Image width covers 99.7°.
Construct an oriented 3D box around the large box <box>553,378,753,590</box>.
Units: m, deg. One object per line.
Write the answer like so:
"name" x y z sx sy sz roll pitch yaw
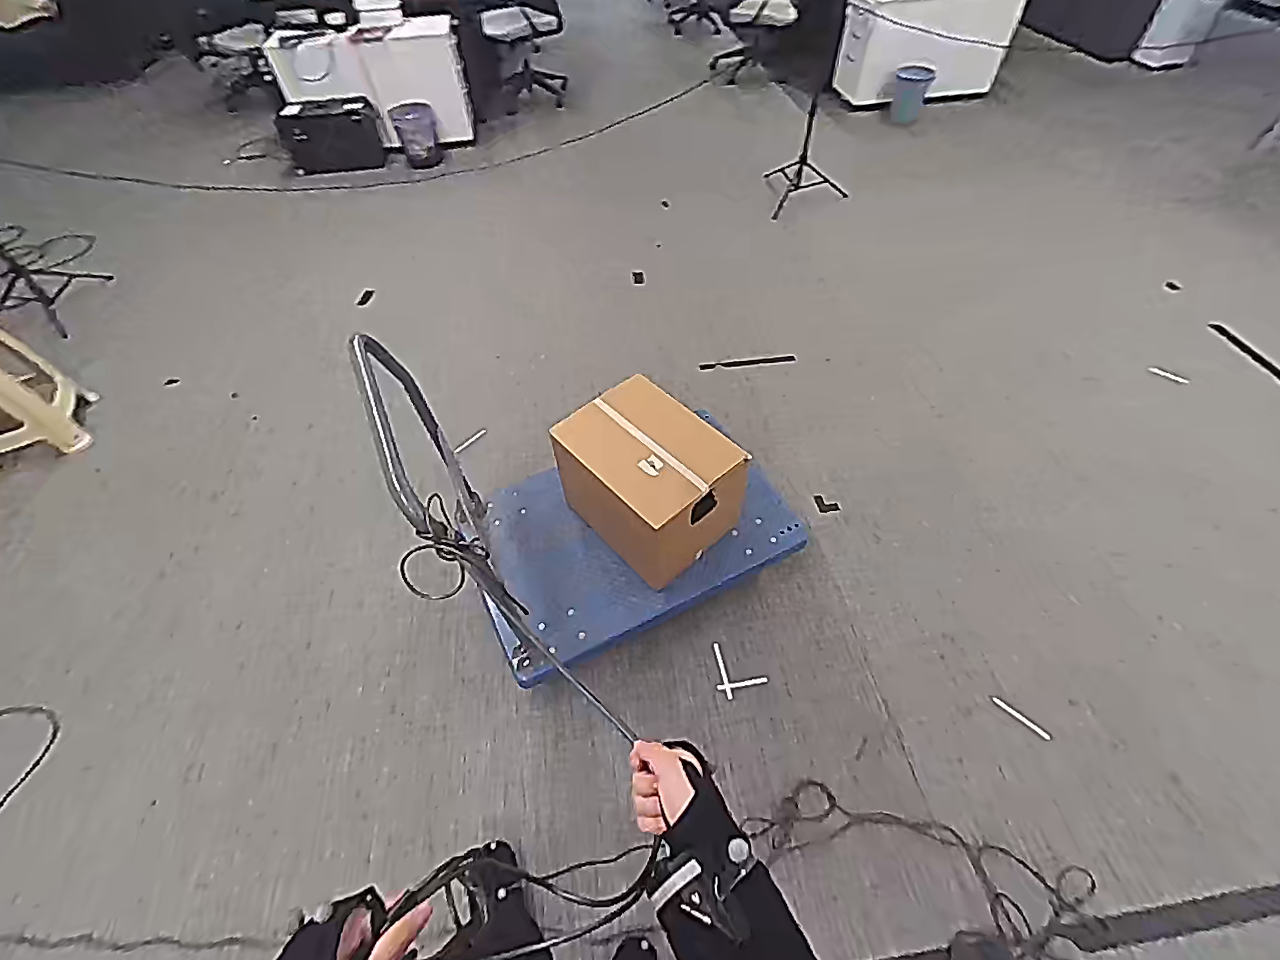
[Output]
"large box" 0.025 0.007 1.434 0.320 0.320 0.408 -36 61 -22
